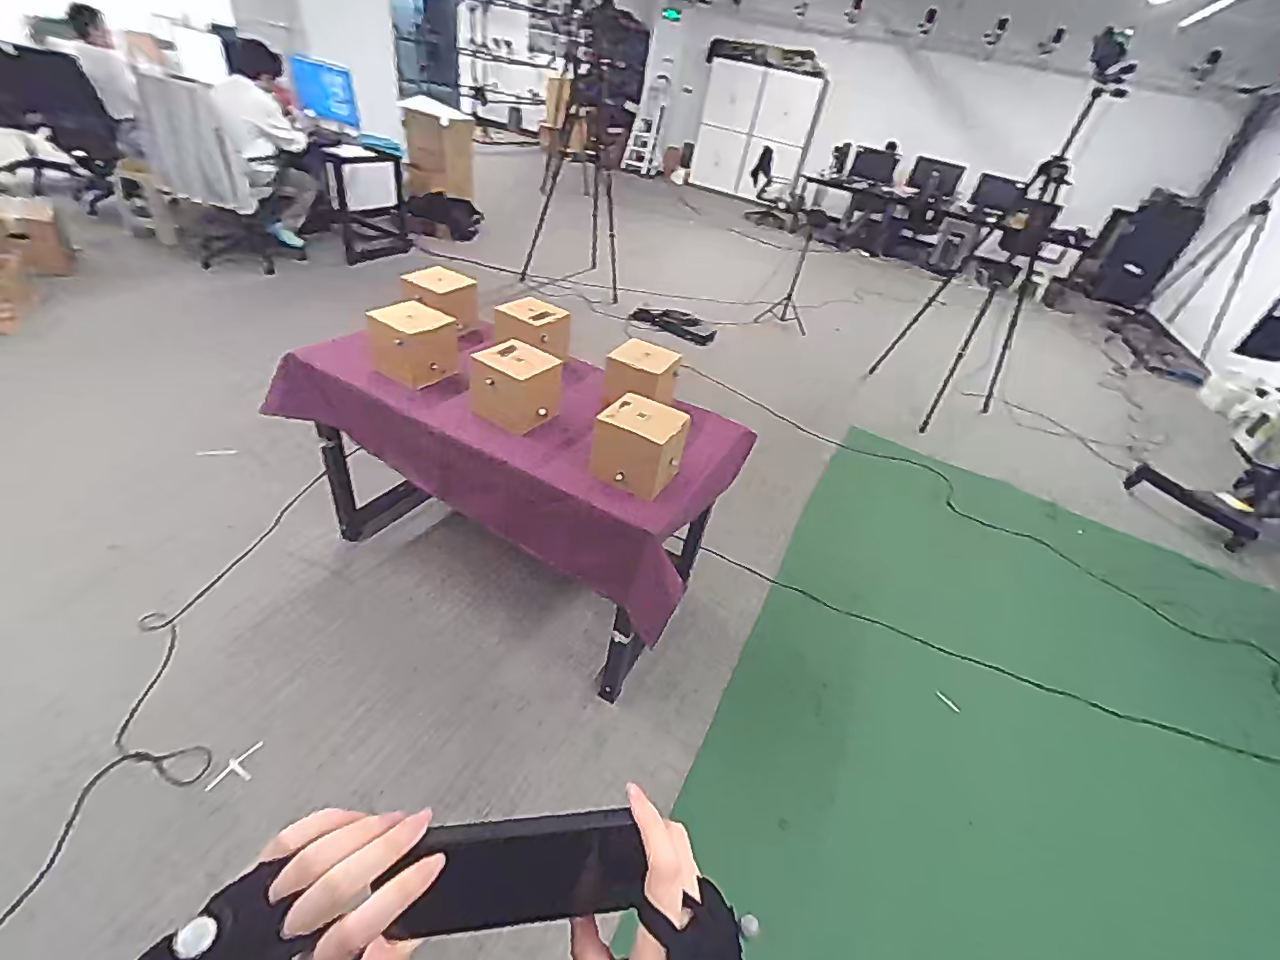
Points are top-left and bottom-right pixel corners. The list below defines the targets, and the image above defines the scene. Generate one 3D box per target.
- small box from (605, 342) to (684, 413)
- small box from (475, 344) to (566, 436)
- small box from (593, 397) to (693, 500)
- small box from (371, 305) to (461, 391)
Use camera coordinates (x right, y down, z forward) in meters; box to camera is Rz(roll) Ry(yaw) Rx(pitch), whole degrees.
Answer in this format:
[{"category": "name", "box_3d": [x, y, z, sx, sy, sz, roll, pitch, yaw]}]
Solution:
[{"category": "small box", "box_3d": [0.010, -0.281, 1.593, 0.168, 0.176, 0.179, 23, 38, 16]}, {"category": "small box", "box_3d": [-0.323, -0.241, 1.449, 0.179, 0.176, 0.168, 28, 39, 19]}, {"category": "small box", "box_3d": [0.004, -0.073, 1.317, 0.179, 0.176, 0.168, 25, 38, 16]}, {"category": "small box", "box_3d": [-0.635, -0.377, 1.543, 0.179, 0.176, 0.168, 27, 39, 18]}]
